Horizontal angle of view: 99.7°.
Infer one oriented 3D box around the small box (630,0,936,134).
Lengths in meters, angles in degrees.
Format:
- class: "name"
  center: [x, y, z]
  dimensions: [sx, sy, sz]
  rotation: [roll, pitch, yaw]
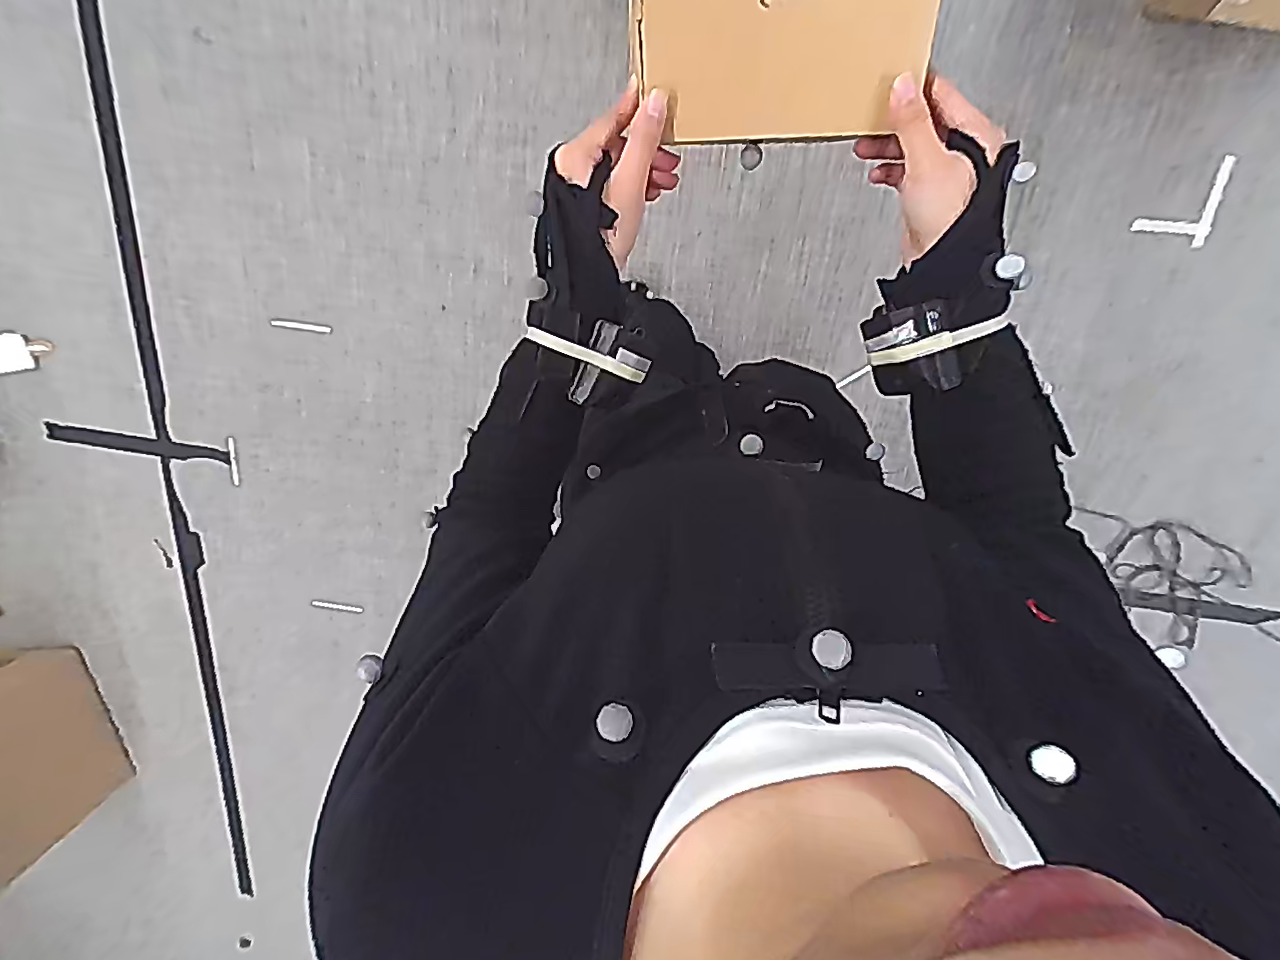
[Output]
- class: "small box"
  center: [0.082, -0.335, 0.366]
  dimensions: [0.179, 0.176, 0.168]
  rotation: [-2, 122, 0]
